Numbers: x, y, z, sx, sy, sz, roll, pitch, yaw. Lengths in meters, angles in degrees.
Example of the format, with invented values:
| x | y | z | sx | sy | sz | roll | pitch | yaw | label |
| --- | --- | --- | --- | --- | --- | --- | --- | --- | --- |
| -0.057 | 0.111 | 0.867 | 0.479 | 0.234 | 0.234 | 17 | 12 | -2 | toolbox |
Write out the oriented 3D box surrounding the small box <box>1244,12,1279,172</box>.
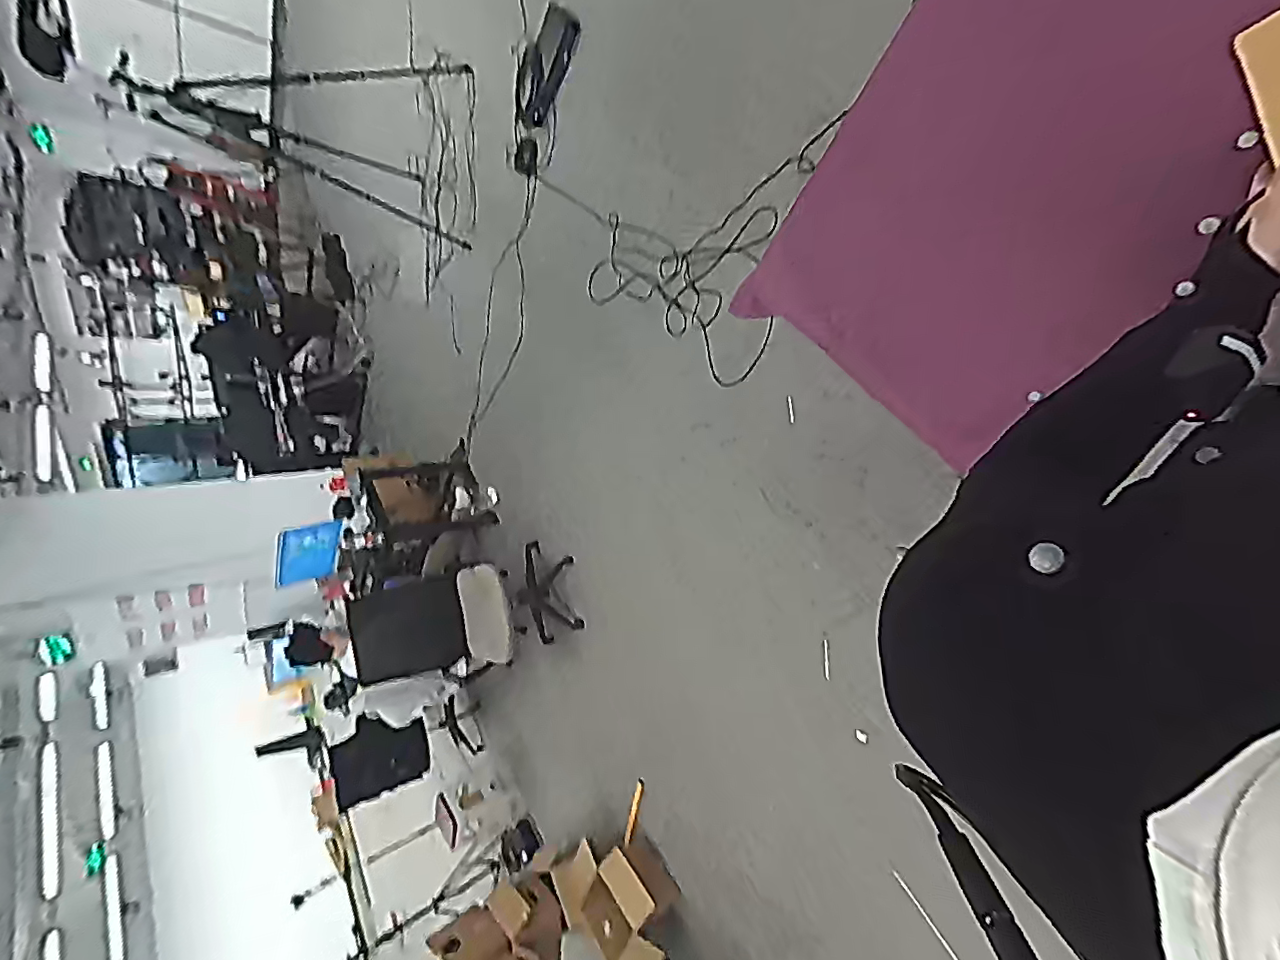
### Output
| x | y | z | sx | sy | sz | roll | pitch | yaw | label |
| --- | --- | --- | --- | --- | --- | --- | --- | --- | --- |
| 0.648 | -0.324 | 0.439 | 0.168 | 0.176 | 0.179 | -18 | 78 | 56 | small box |
